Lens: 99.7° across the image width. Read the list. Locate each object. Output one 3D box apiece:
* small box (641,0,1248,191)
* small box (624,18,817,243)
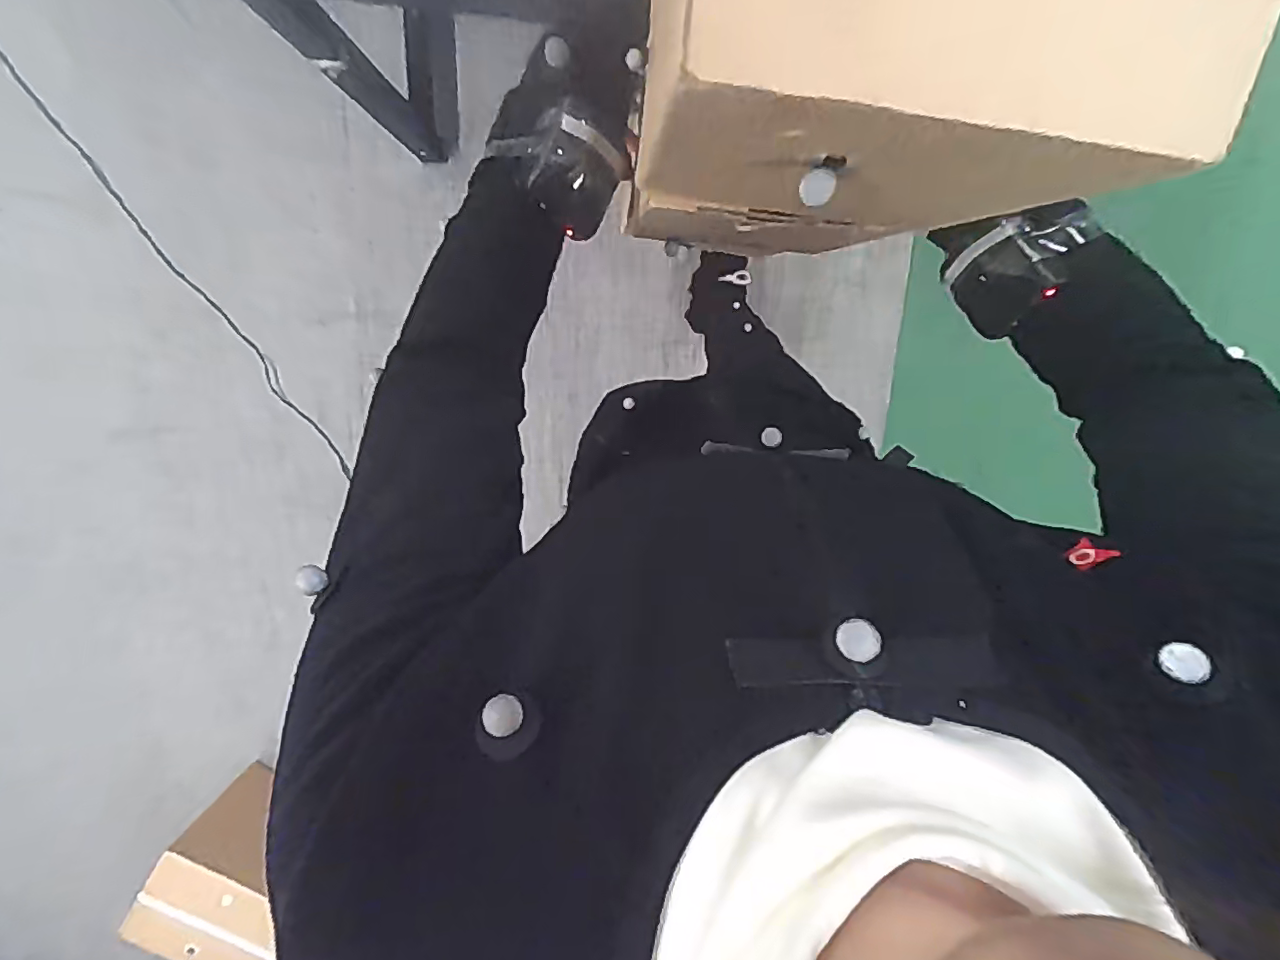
[{"bbox_3d":[0.094,-0.227,0.216,0.179,0.176,0.168,2,107,-5],"label":"small box"},{"bbox_3d":[0.076,-0.340,0.521,0.168,0.176,0.179,6,109,-5],"label":"small box"}]
